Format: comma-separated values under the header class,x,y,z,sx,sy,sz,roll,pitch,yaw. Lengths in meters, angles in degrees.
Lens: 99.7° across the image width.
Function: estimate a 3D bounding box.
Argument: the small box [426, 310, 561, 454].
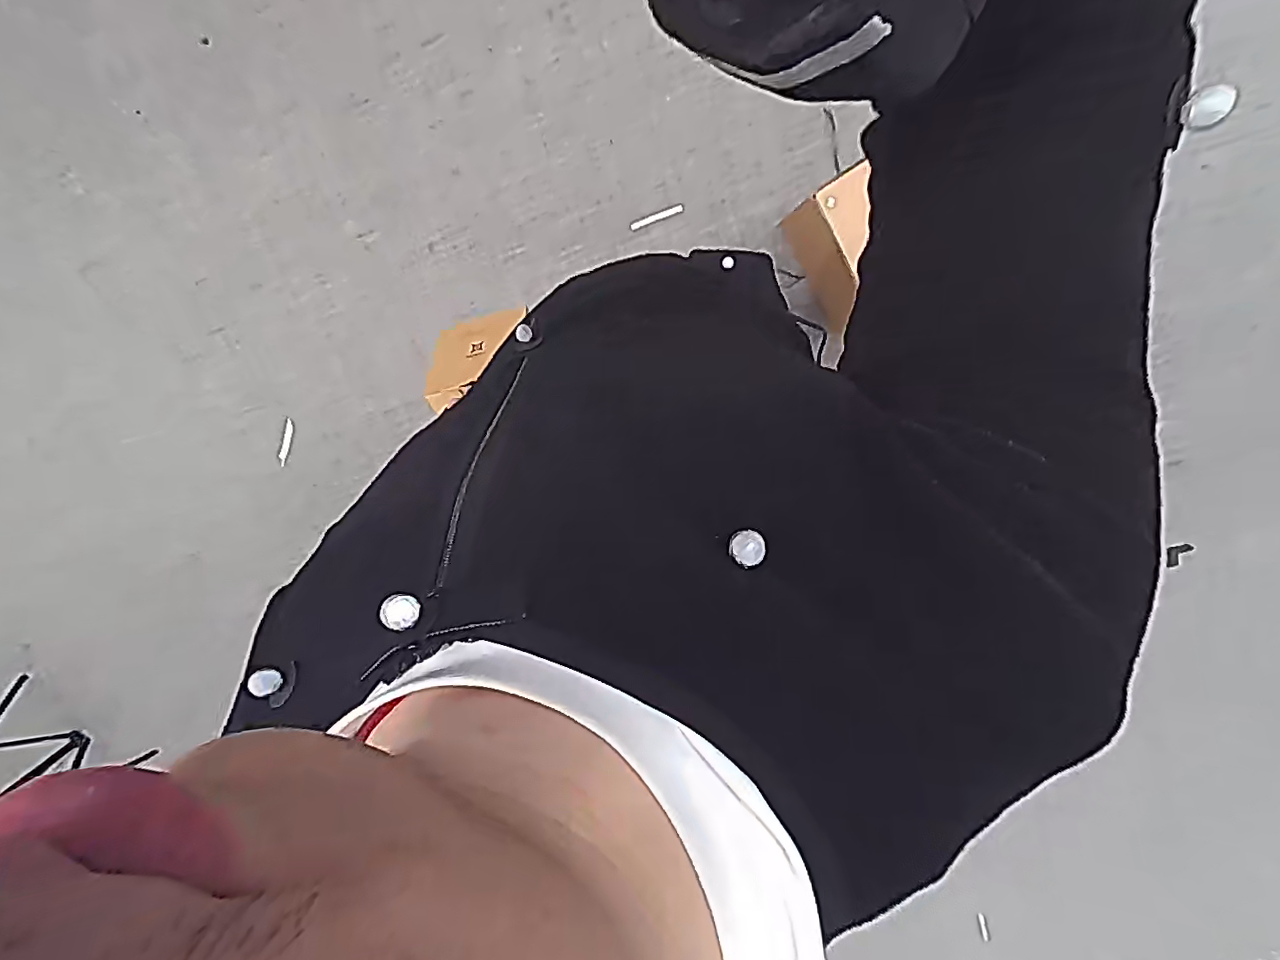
class,x,y,z,sx,sy,sz,roll,pitch,yaw
small box,-0.246,-0.163,0.956,0.168,0.179,0.176,-13,140,9
